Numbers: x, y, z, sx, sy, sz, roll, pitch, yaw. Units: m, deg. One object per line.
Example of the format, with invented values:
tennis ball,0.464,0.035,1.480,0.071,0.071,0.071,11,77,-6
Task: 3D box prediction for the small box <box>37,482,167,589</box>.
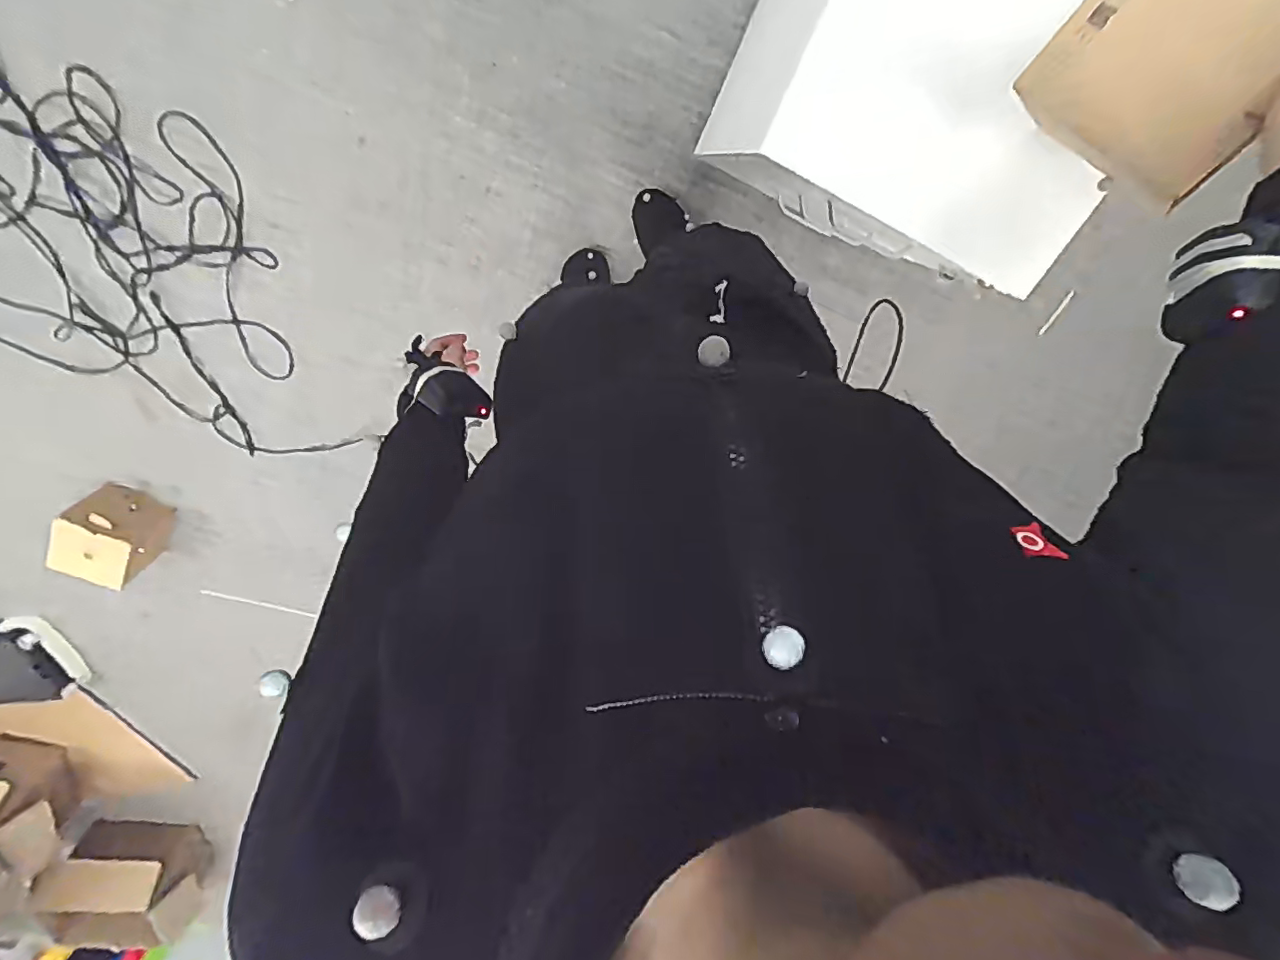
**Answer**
small box,-1.374,0.139,1.390,0.168,0.176,0.179,28,114,-18
